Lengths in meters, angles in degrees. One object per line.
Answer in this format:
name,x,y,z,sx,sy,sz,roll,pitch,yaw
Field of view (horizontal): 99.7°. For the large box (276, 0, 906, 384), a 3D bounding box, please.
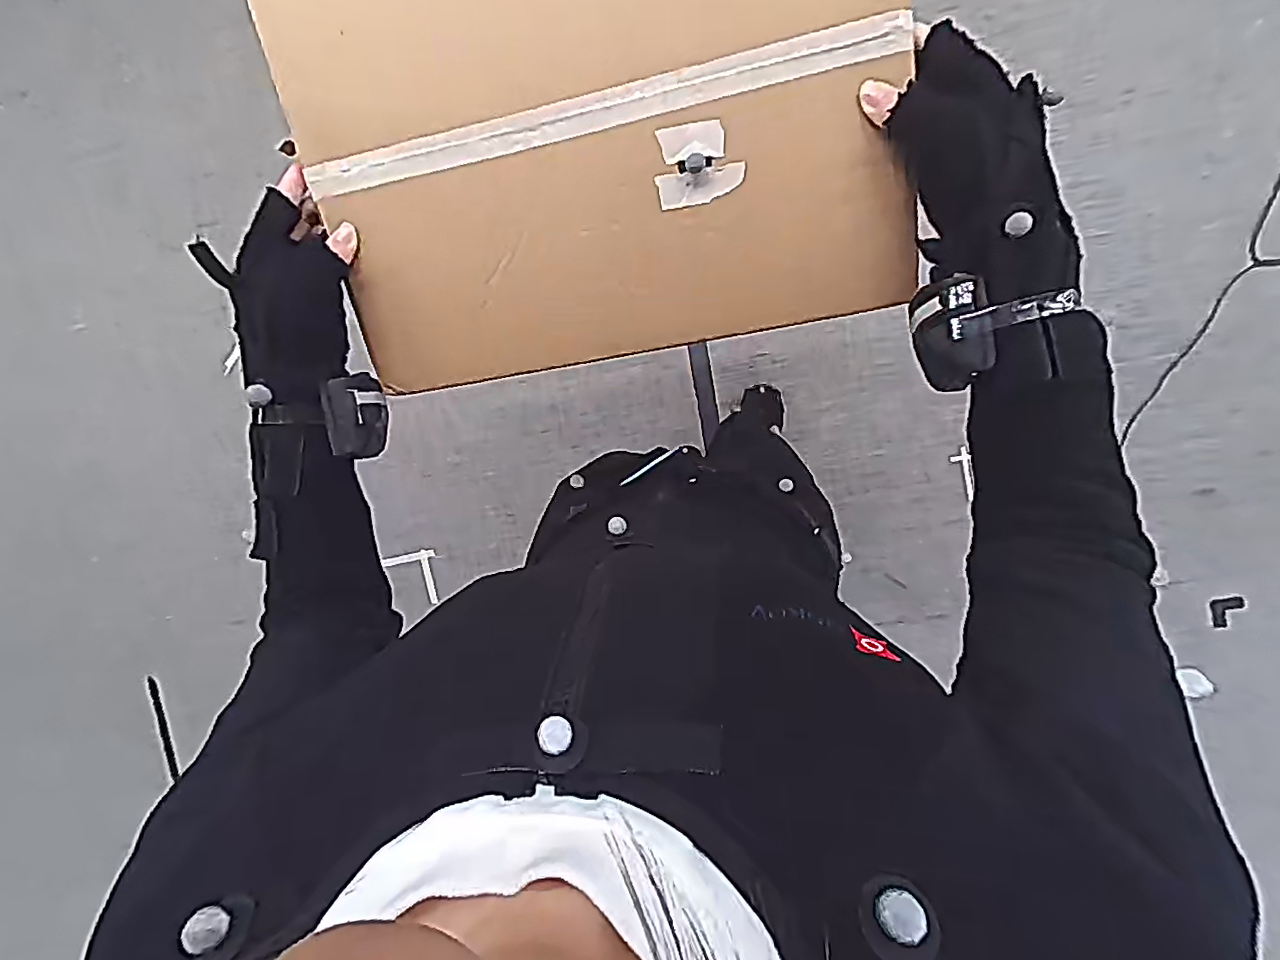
large box,-0.019,-0.299,0.510,0.408,0.320,0.320,-9,109,9
